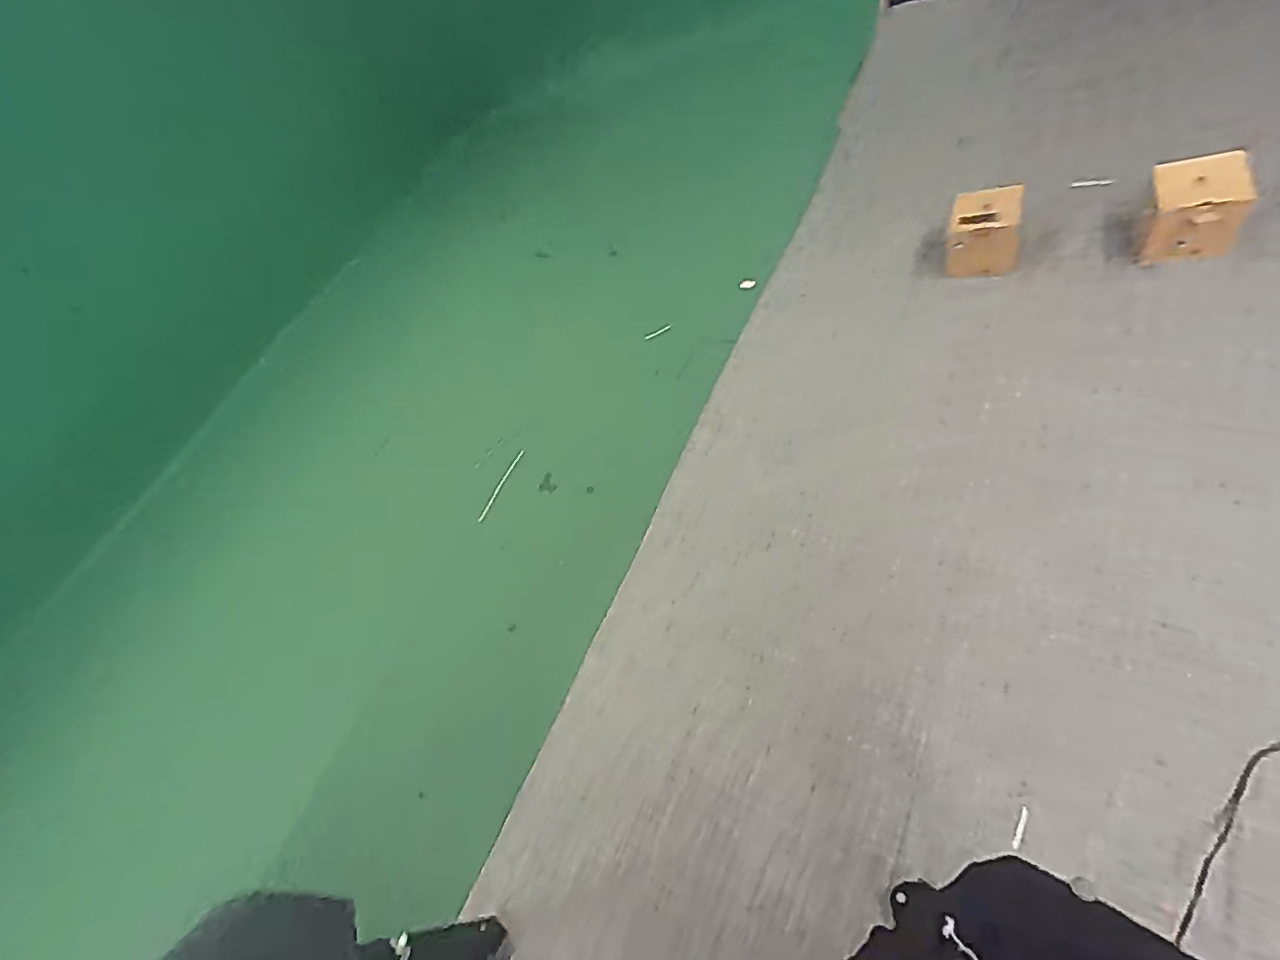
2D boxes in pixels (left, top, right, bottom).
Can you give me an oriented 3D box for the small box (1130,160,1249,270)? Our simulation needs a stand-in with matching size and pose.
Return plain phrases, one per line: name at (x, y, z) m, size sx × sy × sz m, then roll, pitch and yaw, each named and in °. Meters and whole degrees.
small box at (1.379, -0.665, 1.371) m, size 0.168 × 0.176 × 0.179 m, roll 3°, pitch 62°, yaw 29°
